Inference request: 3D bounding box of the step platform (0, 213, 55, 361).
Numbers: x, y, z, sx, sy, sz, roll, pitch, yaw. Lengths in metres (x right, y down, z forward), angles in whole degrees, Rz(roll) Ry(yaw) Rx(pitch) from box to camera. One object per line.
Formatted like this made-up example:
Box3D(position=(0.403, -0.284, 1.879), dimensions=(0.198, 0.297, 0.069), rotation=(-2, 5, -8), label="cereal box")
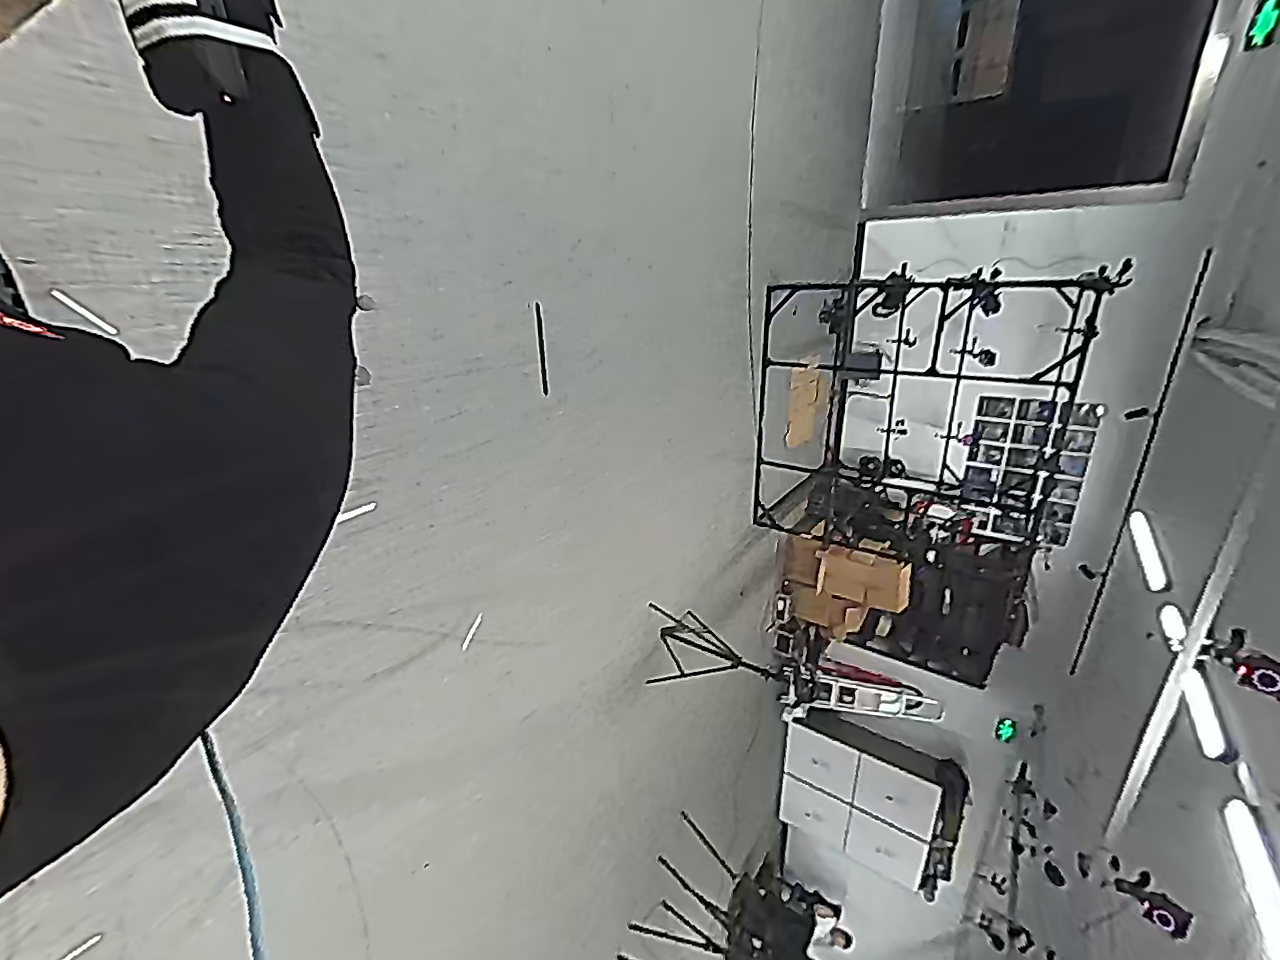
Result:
Box3D(position=(-1.379, -0.283, 0.803), dimensions=(0.684, 0.204, 0.286), rotation=(-31, 126, -50), label="step platform")
